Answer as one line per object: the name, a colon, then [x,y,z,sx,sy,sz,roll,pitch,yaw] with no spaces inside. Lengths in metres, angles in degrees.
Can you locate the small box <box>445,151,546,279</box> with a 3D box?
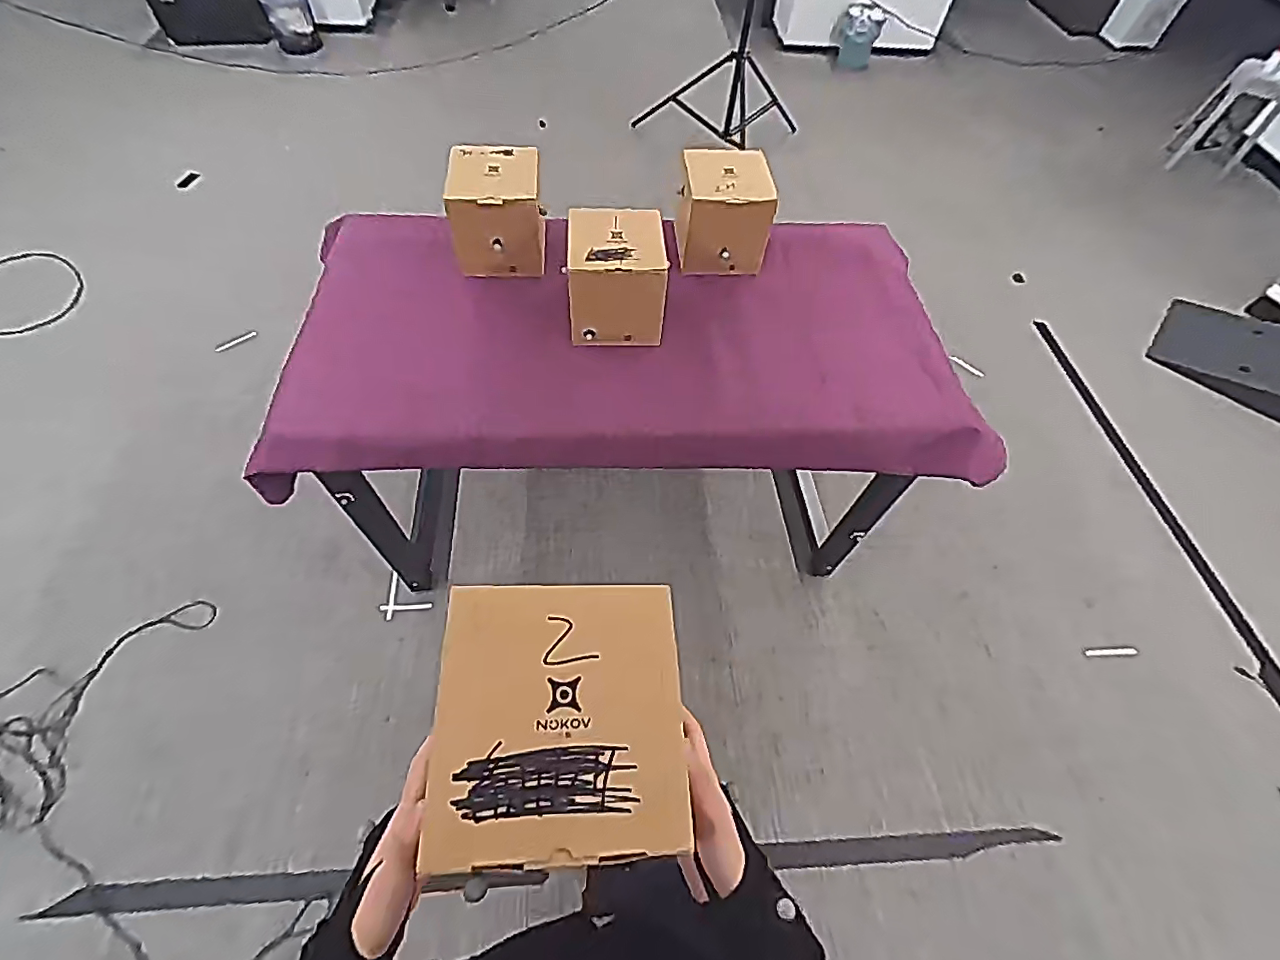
small box: [-0.276,-0.521,1.075,0.168,0.176,0.179,-2,60,-5]

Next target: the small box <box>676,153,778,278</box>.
small box: [0.169,-0.545,1.119,0.168,0.176,0.179,-2,59,-4]

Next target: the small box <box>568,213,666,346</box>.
small box: [-0.043,-0.363,0.993,0.168,0.176,0.179,-1,57,-4]
